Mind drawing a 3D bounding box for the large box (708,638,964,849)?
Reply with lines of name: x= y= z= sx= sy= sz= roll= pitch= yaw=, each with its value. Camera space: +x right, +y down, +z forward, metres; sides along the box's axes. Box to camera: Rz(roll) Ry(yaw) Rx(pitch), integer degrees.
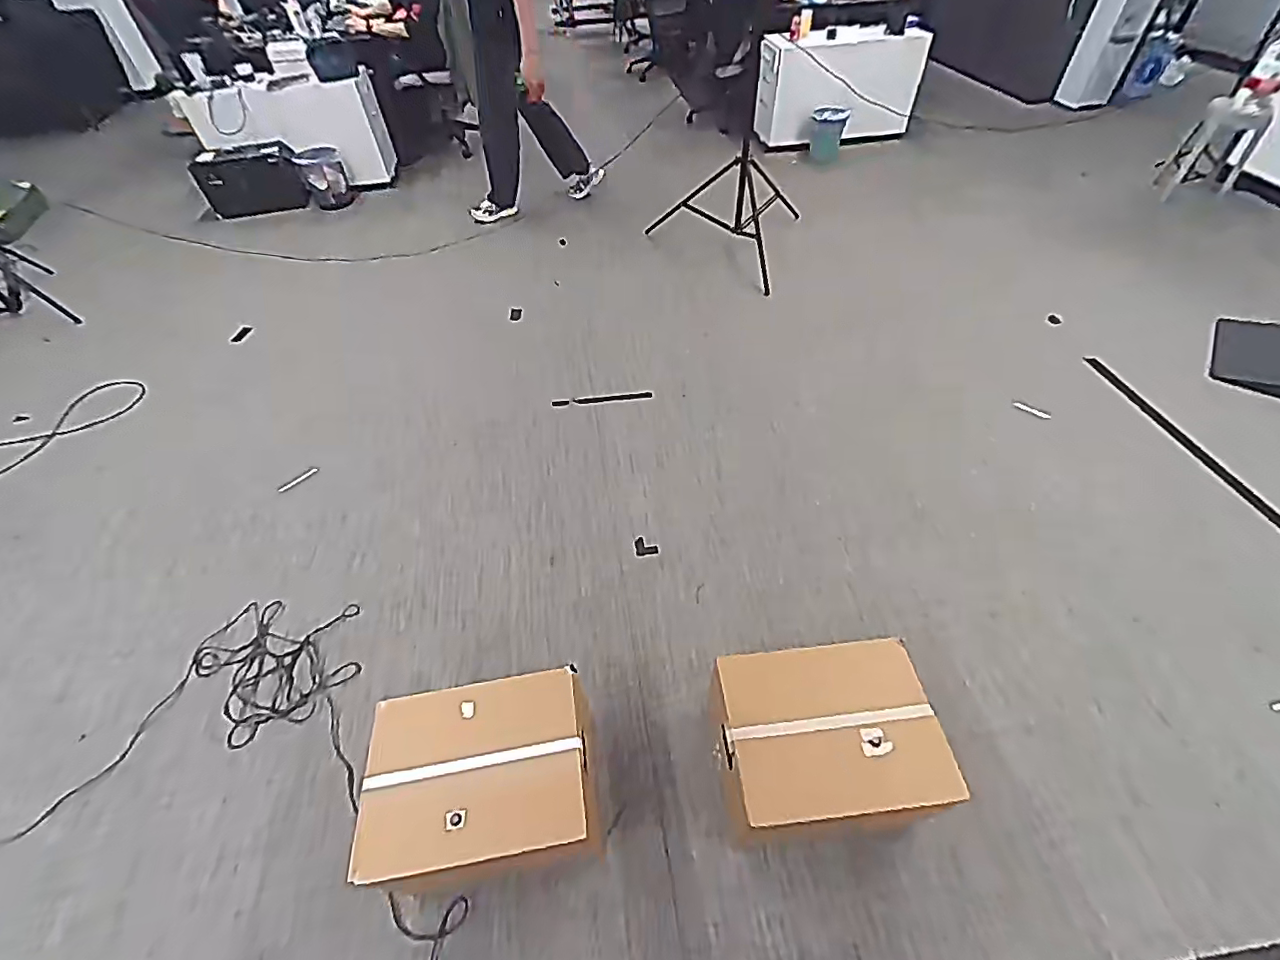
large box: x=0.382 y=0.575 z=1.178 sx=0.408 sy=0.320 sz=0.320 roll=-5 pitch=49 yaw=-3
